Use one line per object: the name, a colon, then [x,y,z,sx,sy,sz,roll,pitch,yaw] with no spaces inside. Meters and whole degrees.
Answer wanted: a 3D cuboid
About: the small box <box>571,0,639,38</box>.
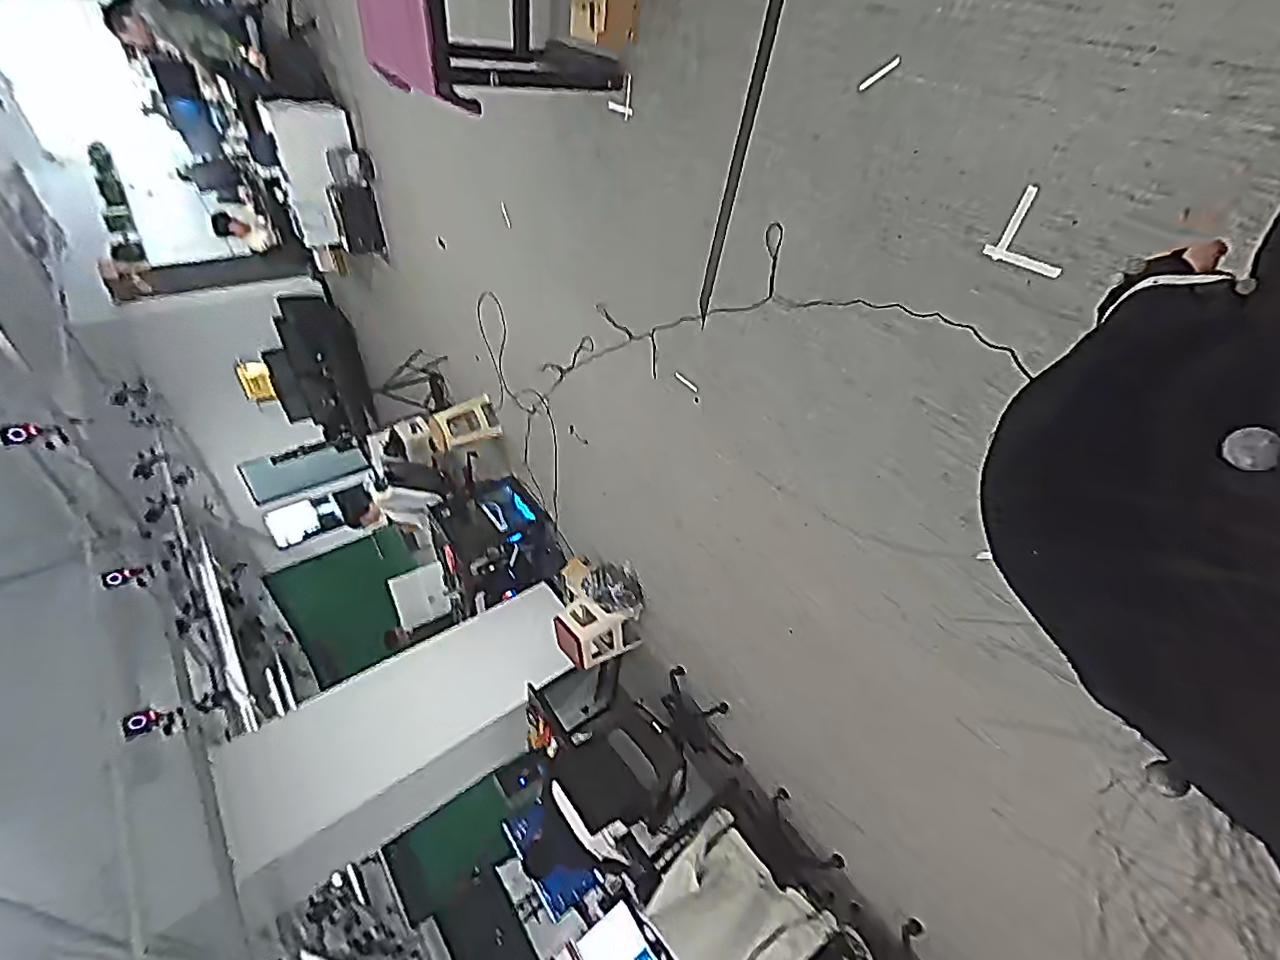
small box: [-0.117,-1.621,1.833,0.179,0.176,0.168,46,144,31]
